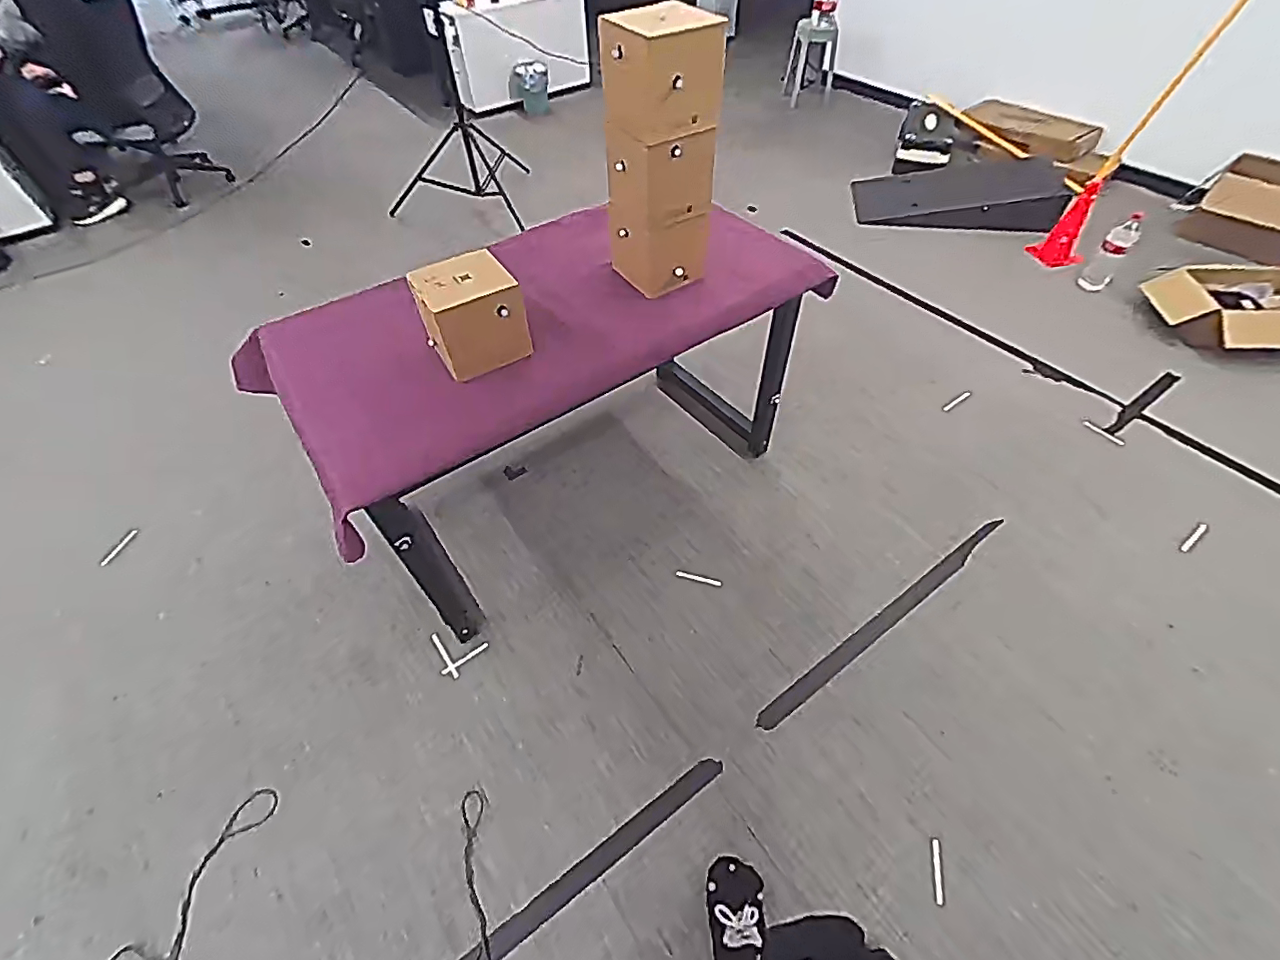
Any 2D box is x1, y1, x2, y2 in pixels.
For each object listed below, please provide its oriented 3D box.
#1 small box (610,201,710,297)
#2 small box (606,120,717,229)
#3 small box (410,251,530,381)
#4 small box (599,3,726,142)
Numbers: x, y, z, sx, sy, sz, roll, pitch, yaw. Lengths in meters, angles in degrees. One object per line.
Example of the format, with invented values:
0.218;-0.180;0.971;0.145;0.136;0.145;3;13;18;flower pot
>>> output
0.045;-0.565;1.280;0.168;0.176;0.179;-28;56;-18;small box
0.043;-0.663;1.149;0.168;0.176;0.179;-27;55;-17;small box
-0.340;-0.336;1.115;0.179;0.176;0.168;-28;55;-18;small box
0.042;-0.759;1.017;0.168;0.176;0.179;-27;55;-17;small box
